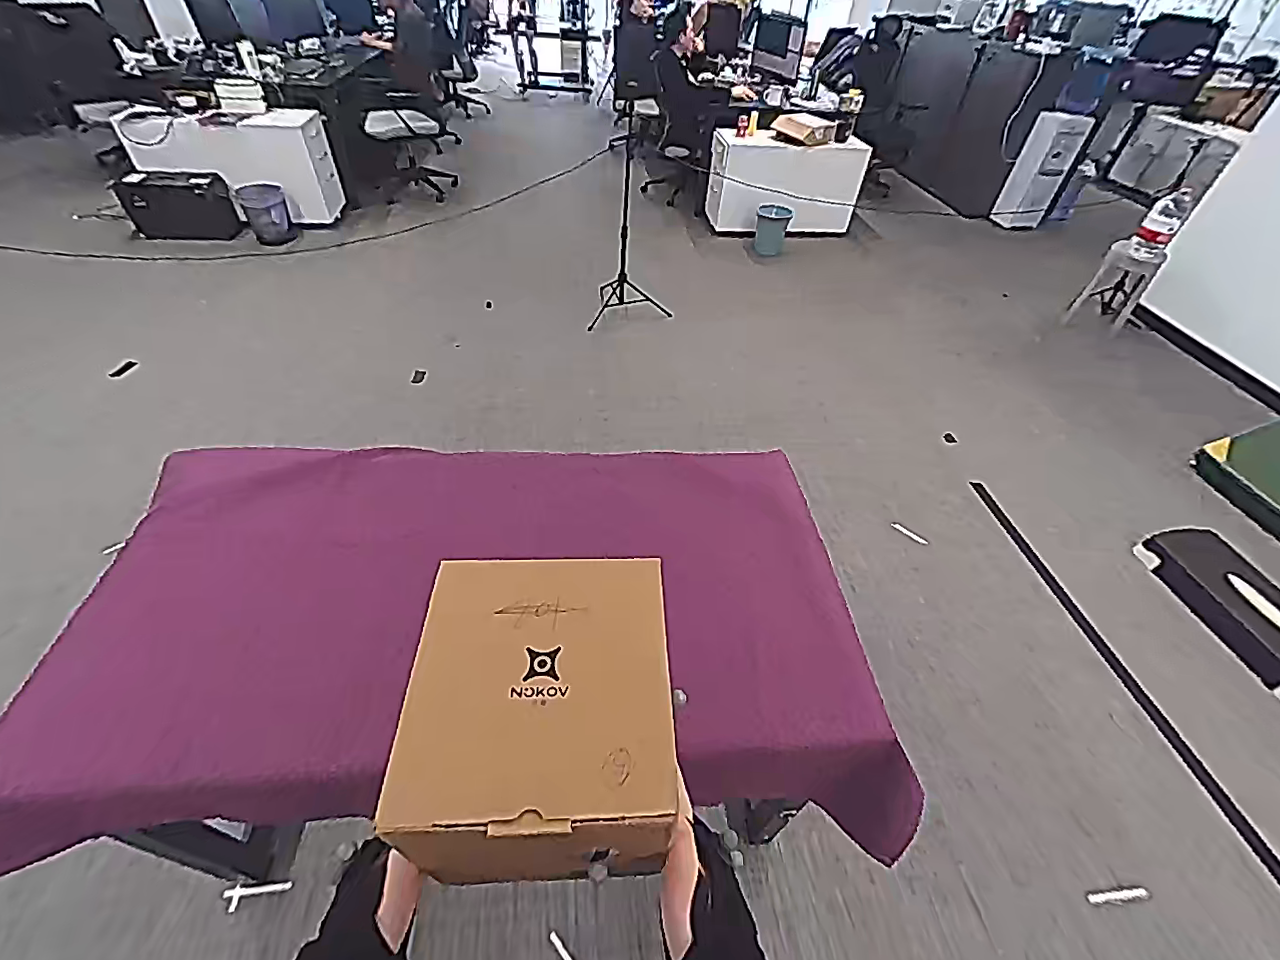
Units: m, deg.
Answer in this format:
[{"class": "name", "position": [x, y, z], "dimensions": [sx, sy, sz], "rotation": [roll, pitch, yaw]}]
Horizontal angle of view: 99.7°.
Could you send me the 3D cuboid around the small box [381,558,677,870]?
[{"class": "small box", "position": [-0.064, 0.178, 0.407], "dimensions": [0.168, 0.176, 0.179], "rotation": [1, 45, -3]}]
